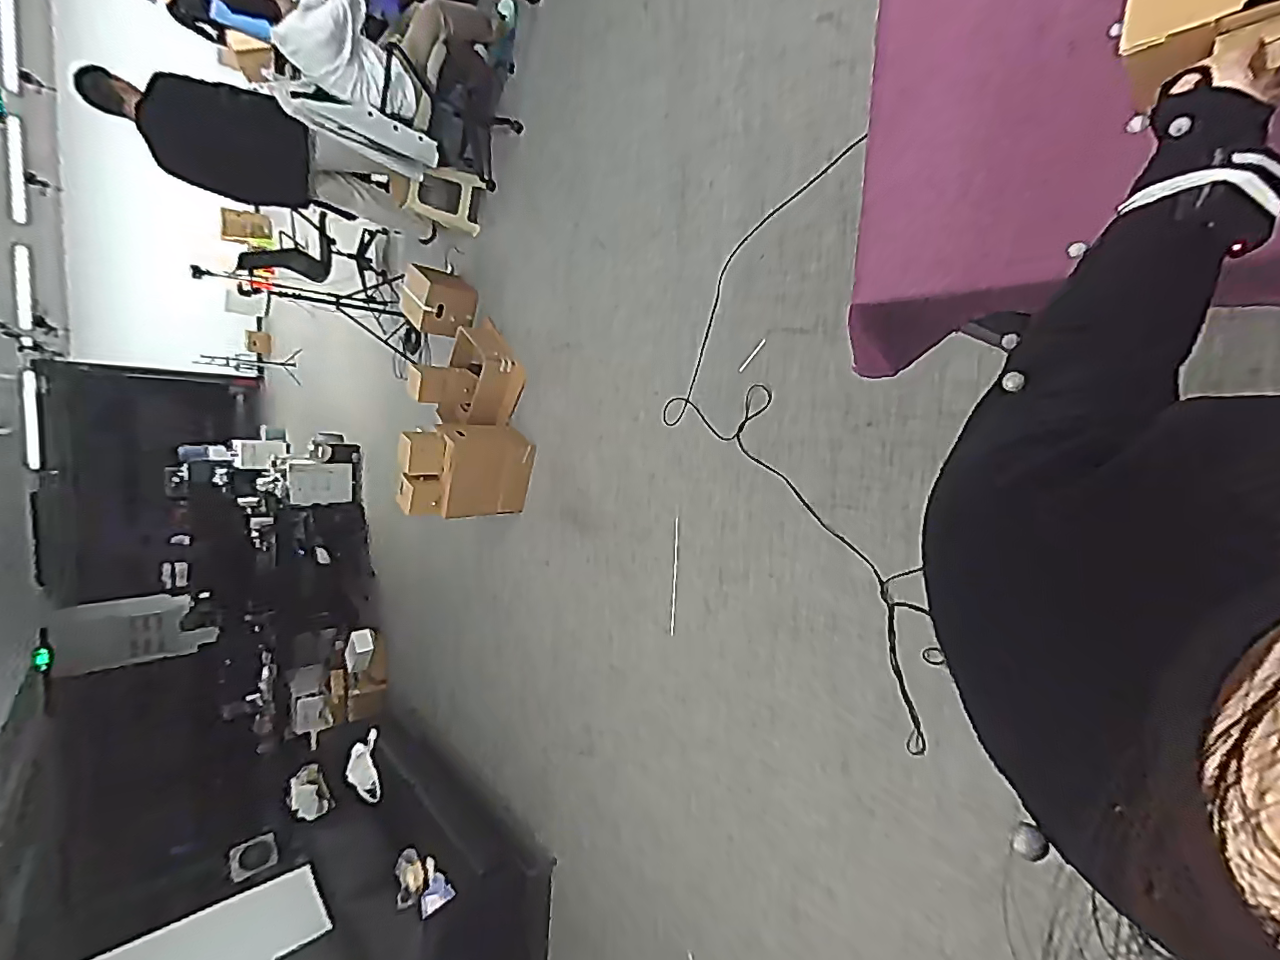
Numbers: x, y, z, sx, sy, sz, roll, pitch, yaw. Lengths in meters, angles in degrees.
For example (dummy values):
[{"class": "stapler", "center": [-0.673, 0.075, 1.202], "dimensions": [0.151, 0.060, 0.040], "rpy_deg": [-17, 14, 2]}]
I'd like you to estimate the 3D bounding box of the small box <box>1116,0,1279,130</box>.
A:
[{"class": "small box", "center": [0.566, -0.467, 0.494], "dimensions": [0.168, 0.176, 0.179], "rpy_deg": [11, 100, 47]}]
